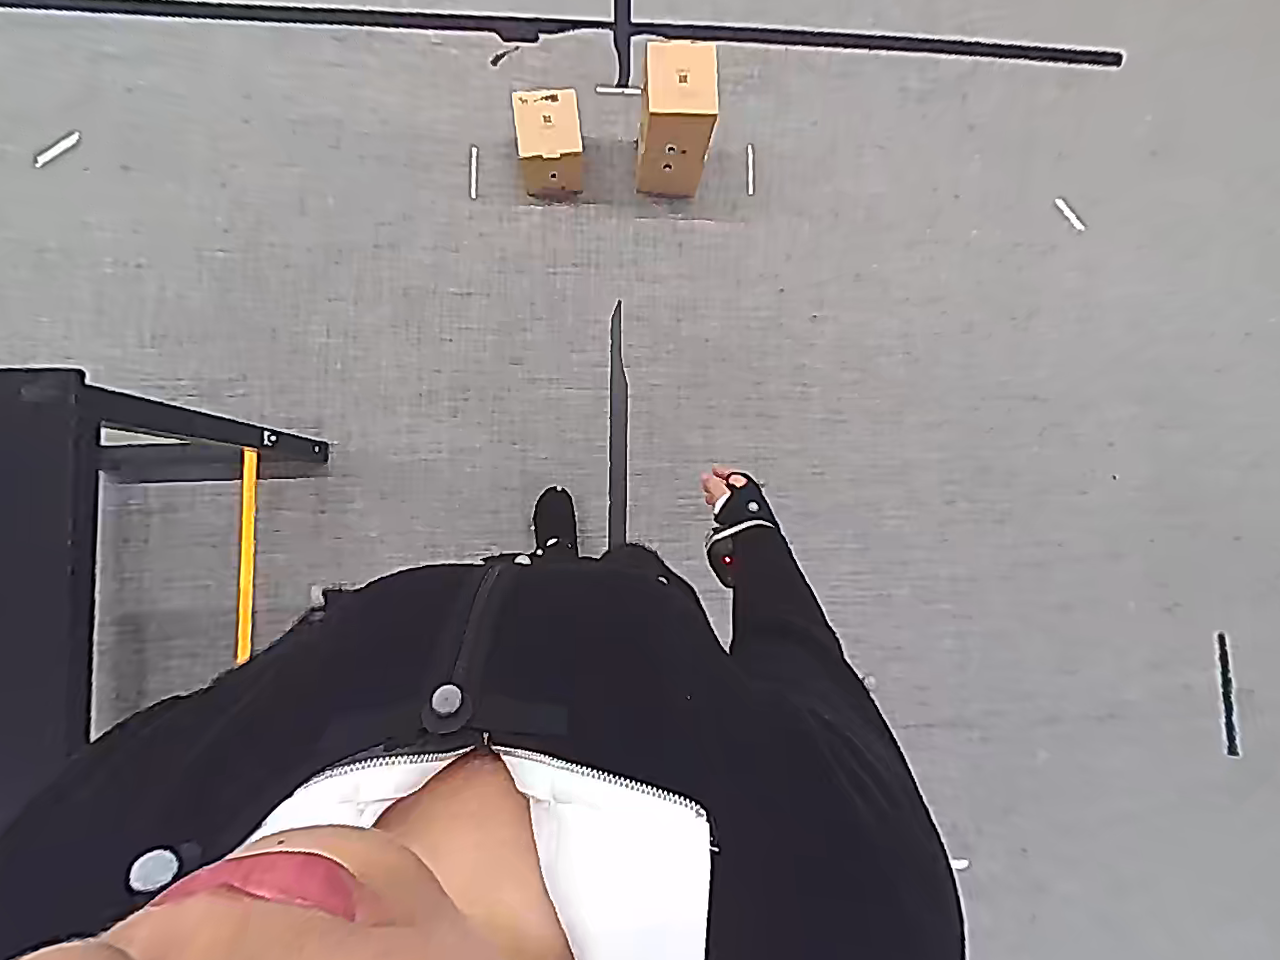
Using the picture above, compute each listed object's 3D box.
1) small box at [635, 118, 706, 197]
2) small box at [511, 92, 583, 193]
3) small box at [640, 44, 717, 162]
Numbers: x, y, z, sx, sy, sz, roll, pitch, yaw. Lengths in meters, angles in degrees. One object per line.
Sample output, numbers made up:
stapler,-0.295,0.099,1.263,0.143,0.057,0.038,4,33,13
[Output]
small box,0.082,-0.914,1.497,0.179,0.176,0.168,3,87,-6
small box,-0.247,-0.904,1.467,0.168,0.176,0.179,-7,88,-5
small box,0.090,-0.924,1.336,0.168,0.176,0.179,-2,88,-4
